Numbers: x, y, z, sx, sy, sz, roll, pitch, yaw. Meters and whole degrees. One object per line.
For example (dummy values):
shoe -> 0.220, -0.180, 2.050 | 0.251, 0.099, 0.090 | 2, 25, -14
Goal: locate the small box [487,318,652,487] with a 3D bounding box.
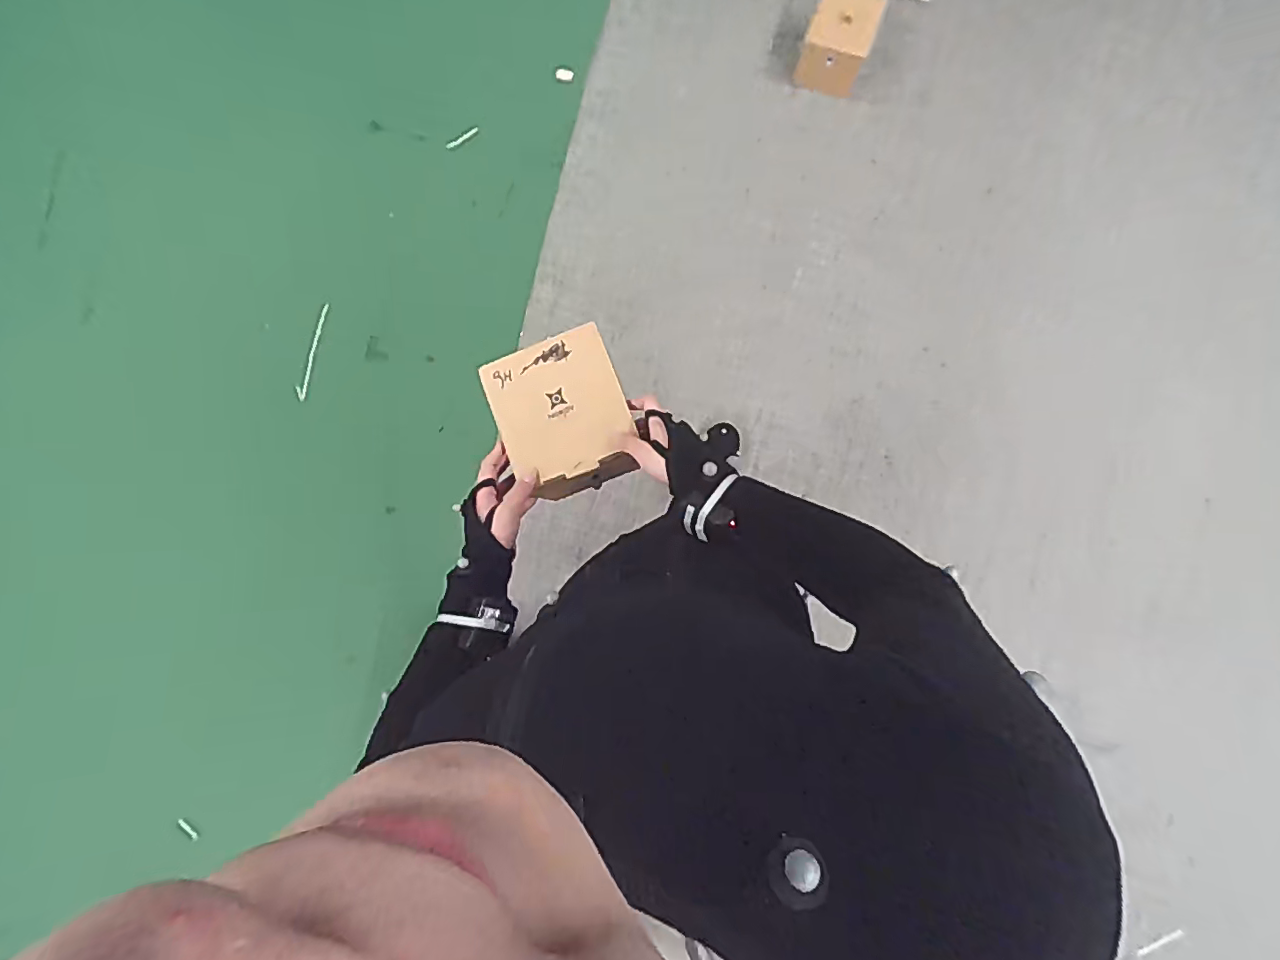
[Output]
small box -> -0.086, -0.094, 0.760 | 0.168, 0.176, 0.179 | -20, 84, 2

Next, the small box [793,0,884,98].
small box -> 0.547, -1.221, 1.518 | 0.179, 0.176, 0.168 | 20, 92, 4
